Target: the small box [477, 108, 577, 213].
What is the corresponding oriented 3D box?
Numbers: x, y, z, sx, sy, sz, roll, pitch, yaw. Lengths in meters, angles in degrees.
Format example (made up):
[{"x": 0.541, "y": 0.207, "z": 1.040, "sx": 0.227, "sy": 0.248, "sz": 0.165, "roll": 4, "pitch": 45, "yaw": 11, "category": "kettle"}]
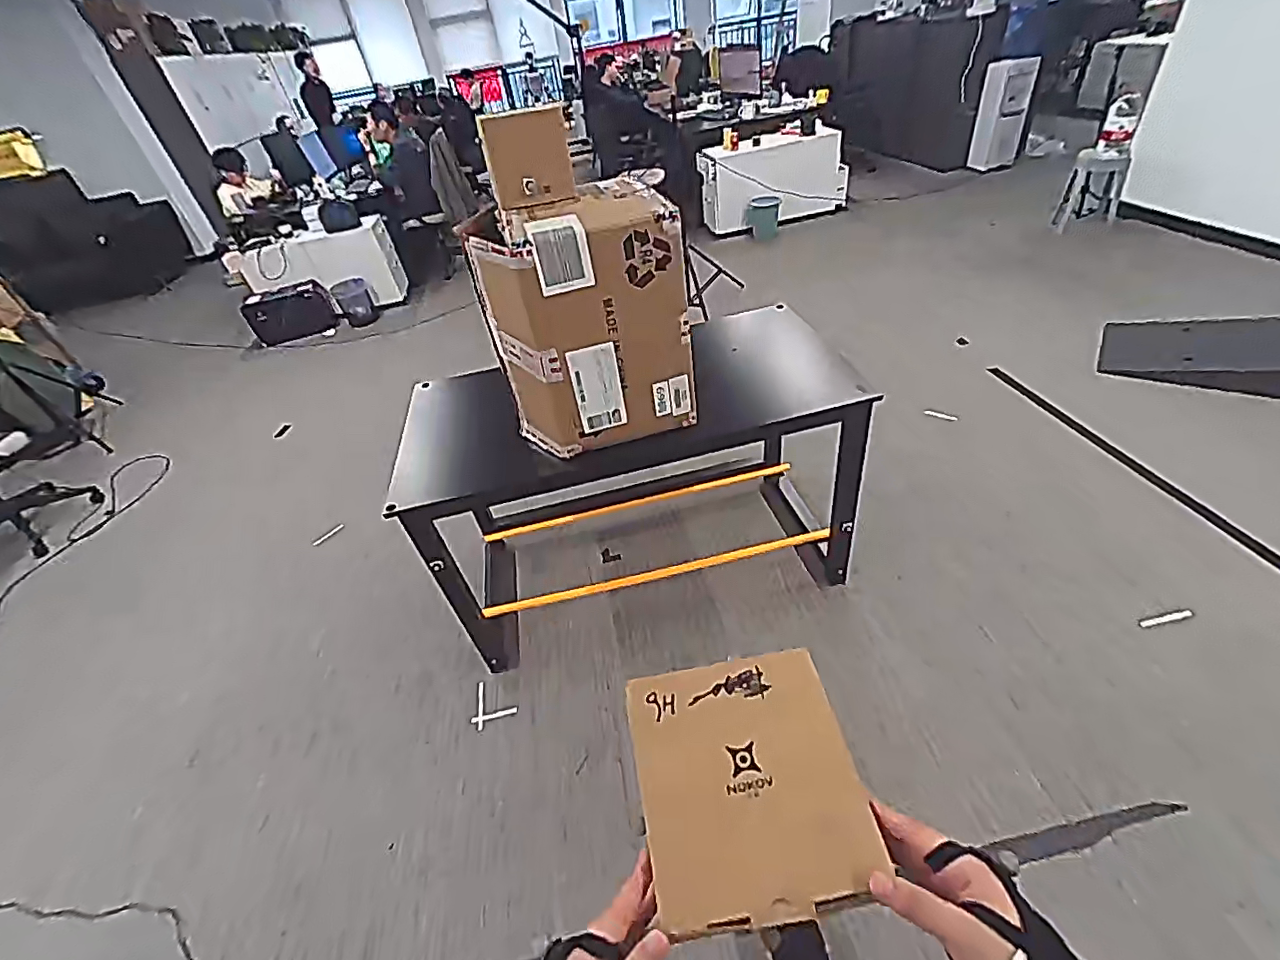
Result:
[{"x": -0.246, "y": -0.695, "z": 1.176, "sx": 0.168, "sy": 0.176, "sz": 0.179, "roll": -17, "pitch": 39, "yaw": -9, "category": "small box"}]
